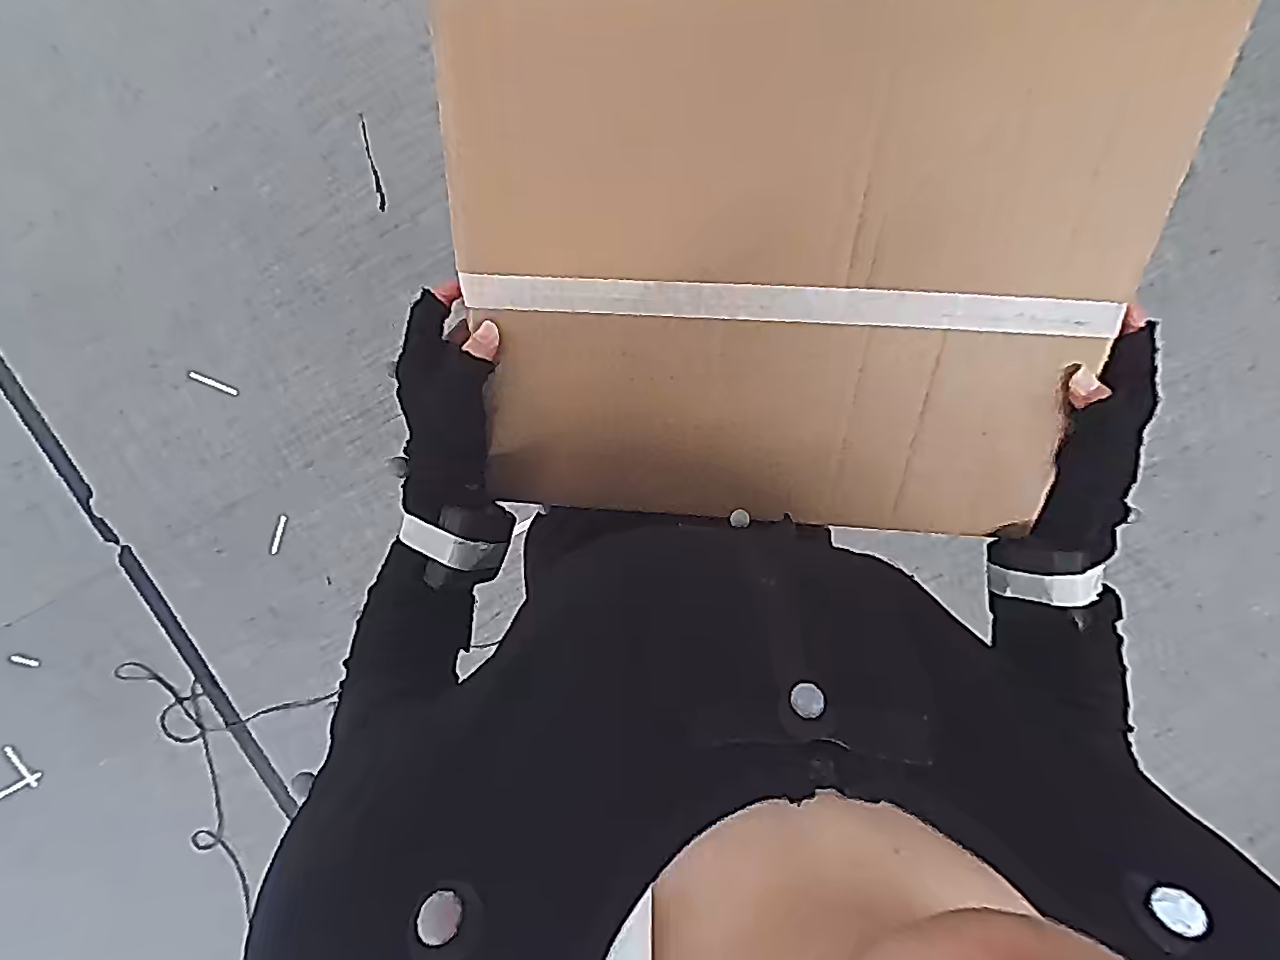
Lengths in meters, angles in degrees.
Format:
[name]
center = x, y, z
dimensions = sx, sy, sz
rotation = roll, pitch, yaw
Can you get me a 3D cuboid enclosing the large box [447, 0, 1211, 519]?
[large box]
center = 0.096, -0.184, 0.482
dimensions = 0.408, 0.320, 0.320
rotation = 4, 119, 2
